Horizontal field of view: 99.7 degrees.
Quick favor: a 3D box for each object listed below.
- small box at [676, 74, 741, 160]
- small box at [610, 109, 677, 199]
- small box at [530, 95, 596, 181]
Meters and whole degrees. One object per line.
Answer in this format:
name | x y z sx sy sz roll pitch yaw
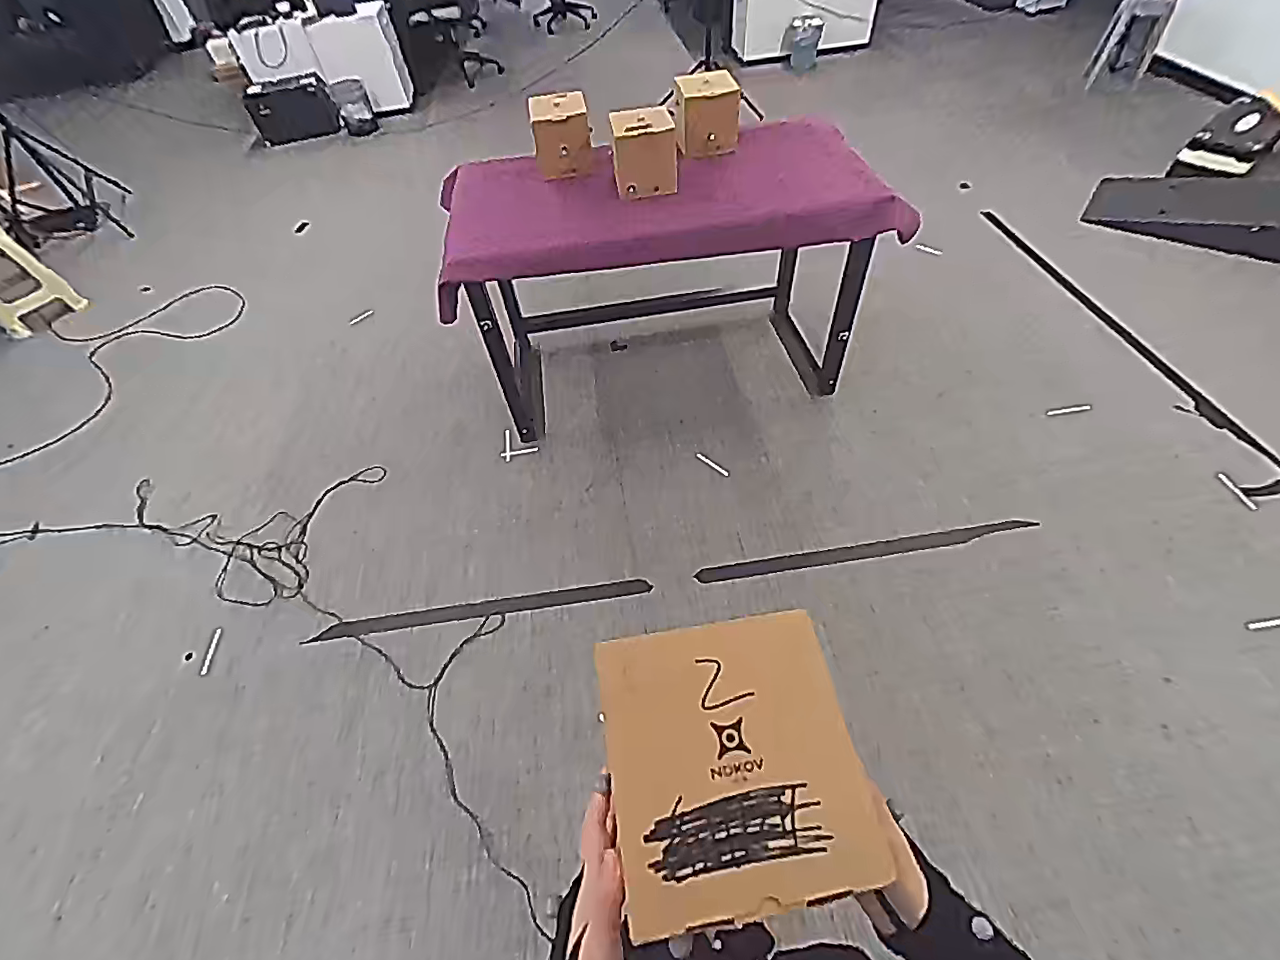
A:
small box | 0.207 -1.122 1.674 0.168 0.176 0.179 -10 54 -1
small box | 0.013 -0.923 1.544 0.168 0.176 0.179 -9 51 -1
small box | -0.233 -1.038 1.654 0.168 0.176 0.179 -9 54 -2
